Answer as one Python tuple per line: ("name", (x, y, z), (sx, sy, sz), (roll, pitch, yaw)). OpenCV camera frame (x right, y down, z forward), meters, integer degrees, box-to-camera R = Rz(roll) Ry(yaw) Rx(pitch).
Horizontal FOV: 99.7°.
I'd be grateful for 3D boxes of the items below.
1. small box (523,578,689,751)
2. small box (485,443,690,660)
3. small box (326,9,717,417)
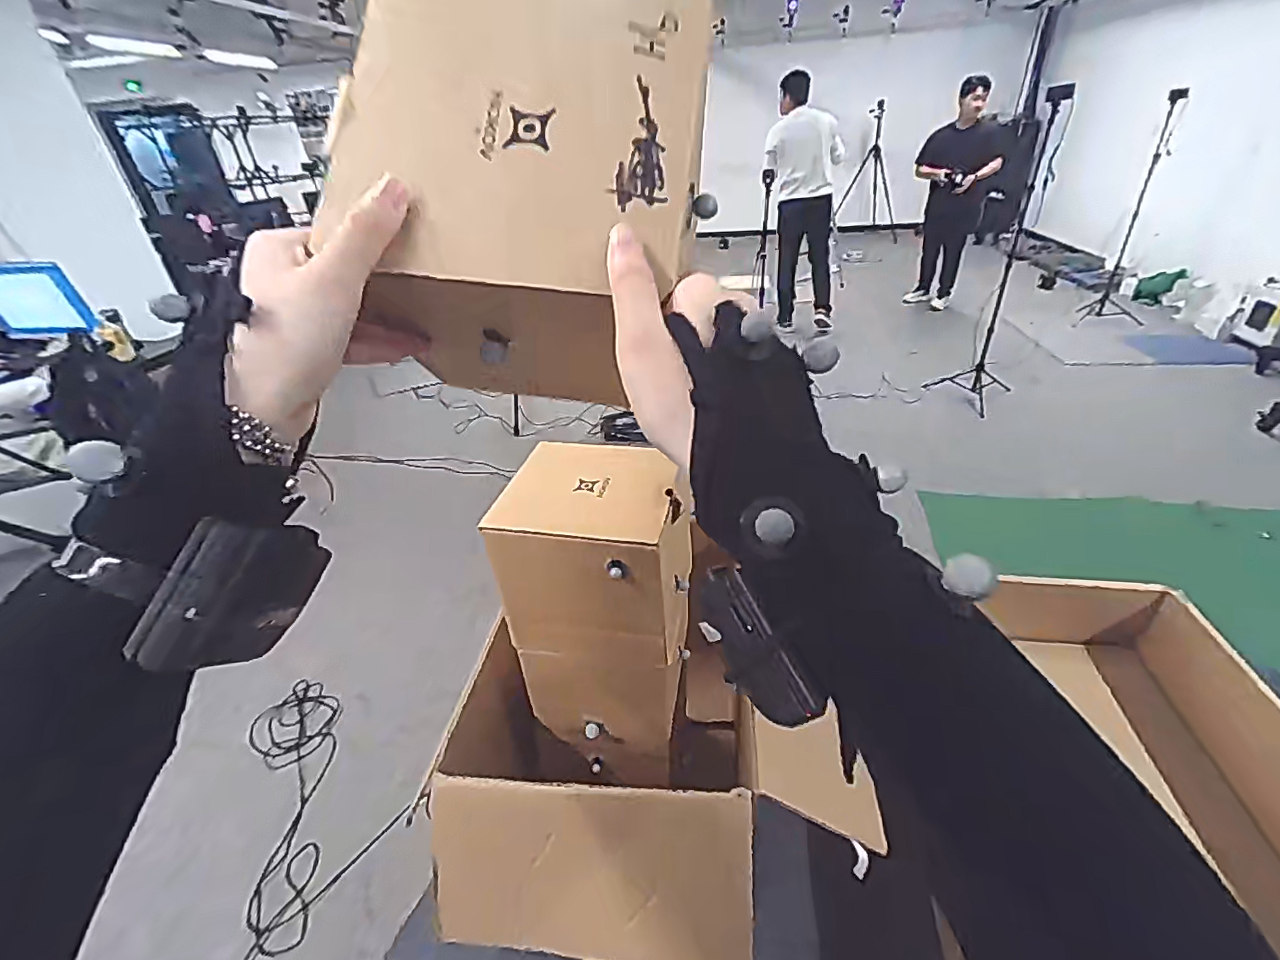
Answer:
("small box", (-0.031, 0.208, 0.689), (0.168, 0.176, 0.179), (4, 36, 11))
("small box", (-0.042, 0.075, 0.597), (0.179, 0.176, 0.168), (5, 34, 12))
("small box", (-0.052, -0.148, 0.348), (0.179, 0.168, 0.176), (7, -10, 5))
